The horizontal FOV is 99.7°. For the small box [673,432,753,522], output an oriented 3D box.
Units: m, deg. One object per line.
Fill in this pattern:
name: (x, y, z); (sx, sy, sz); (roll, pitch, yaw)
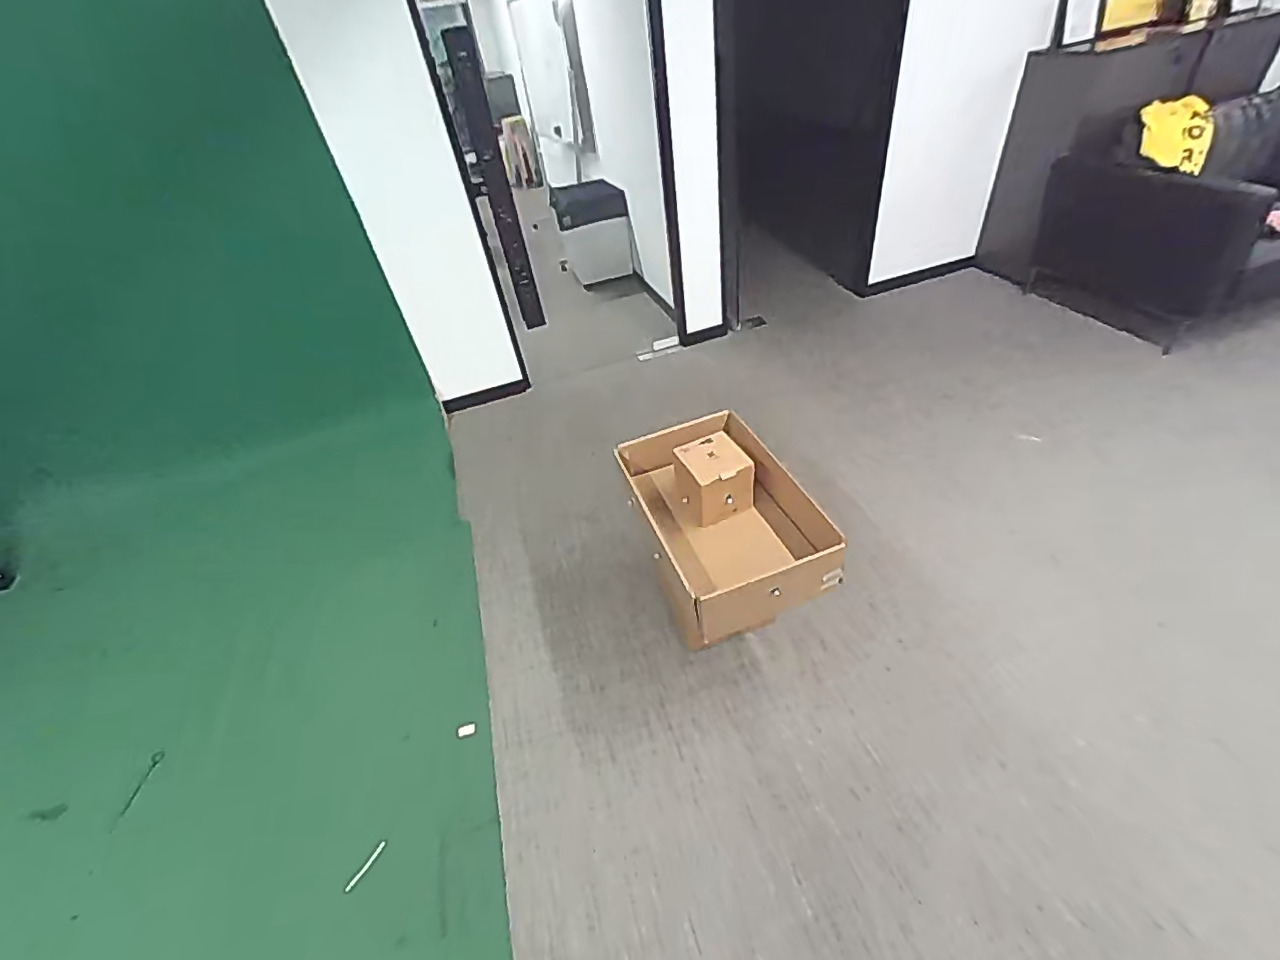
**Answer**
small box: (0.207, -0.002, 1.543); (0.168, 0.176, 0.179); (-20, 45, -13)
